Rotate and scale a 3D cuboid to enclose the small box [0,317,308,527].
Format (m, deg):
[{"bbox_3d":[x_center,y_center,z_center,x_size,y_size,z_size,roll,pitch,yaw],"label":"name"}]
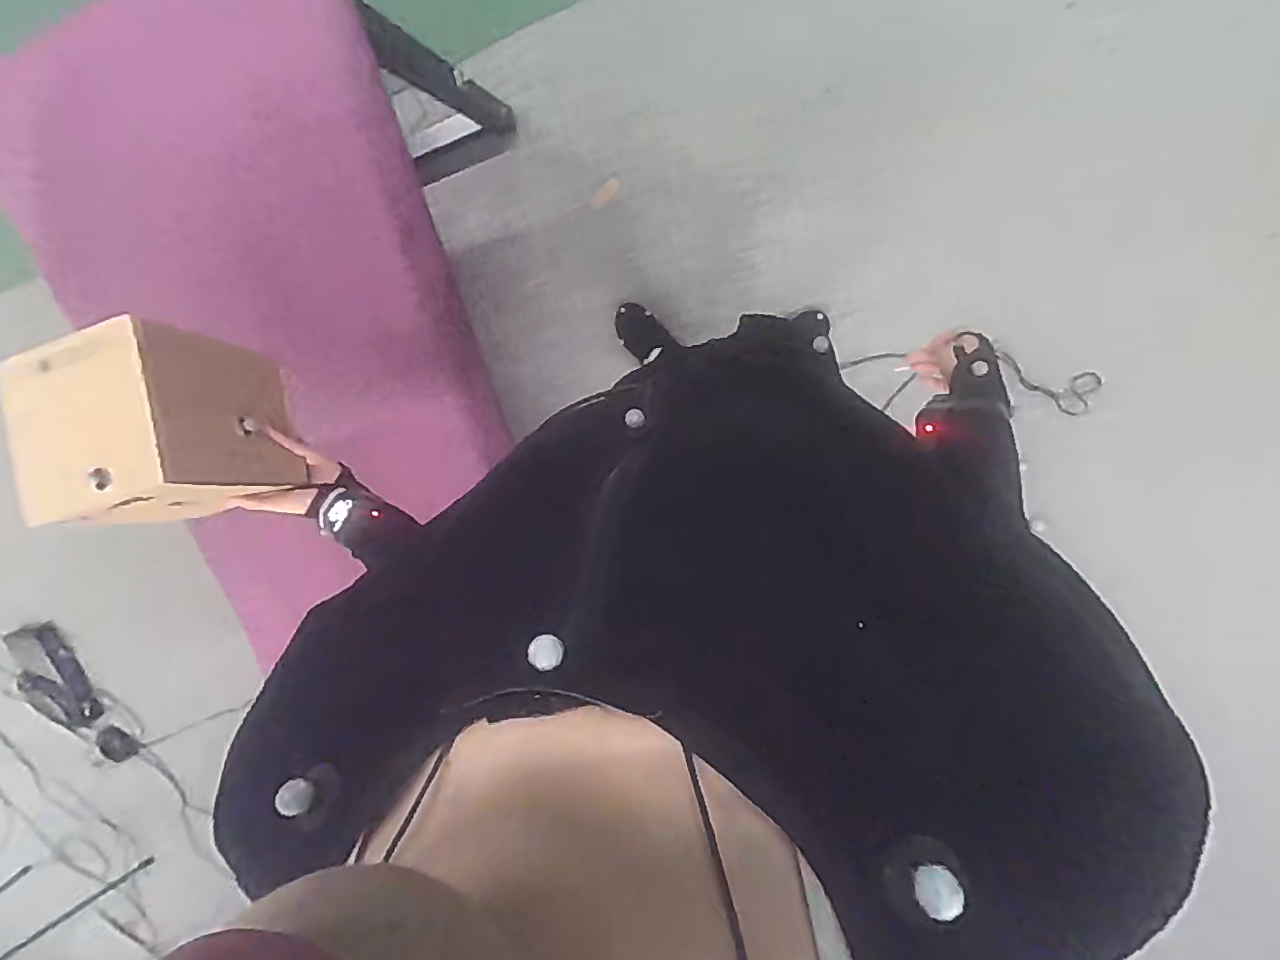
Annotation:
[{"bbox_3d":[-0.506,-0.058,0.578,0.168,0.179,0.176,-15,89,8],"label":"small box"}]
